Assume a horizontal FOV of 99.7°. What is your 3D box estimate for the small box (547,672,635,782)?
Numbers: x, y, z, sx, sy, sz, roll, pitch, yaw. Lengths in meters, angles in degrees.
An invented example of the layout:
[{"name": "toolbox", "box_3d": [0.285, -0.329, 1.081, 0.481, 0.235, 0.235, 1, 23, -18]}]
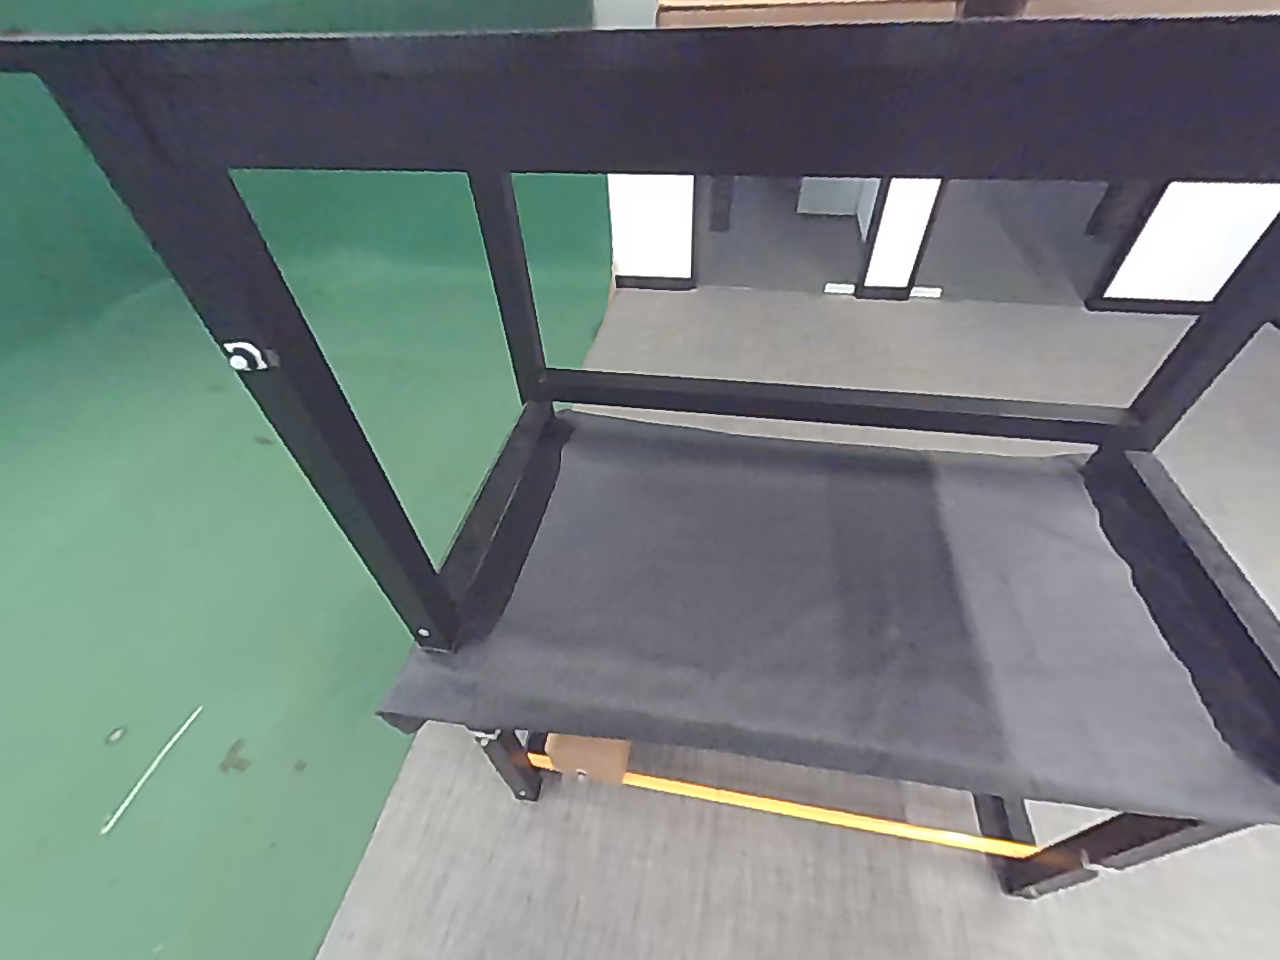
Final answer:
[{"name": "small box", "box_3d": [-0.106, 0.582, 1.272, 0.168, 0.176, 0.179, 5, 47, 9]}]
